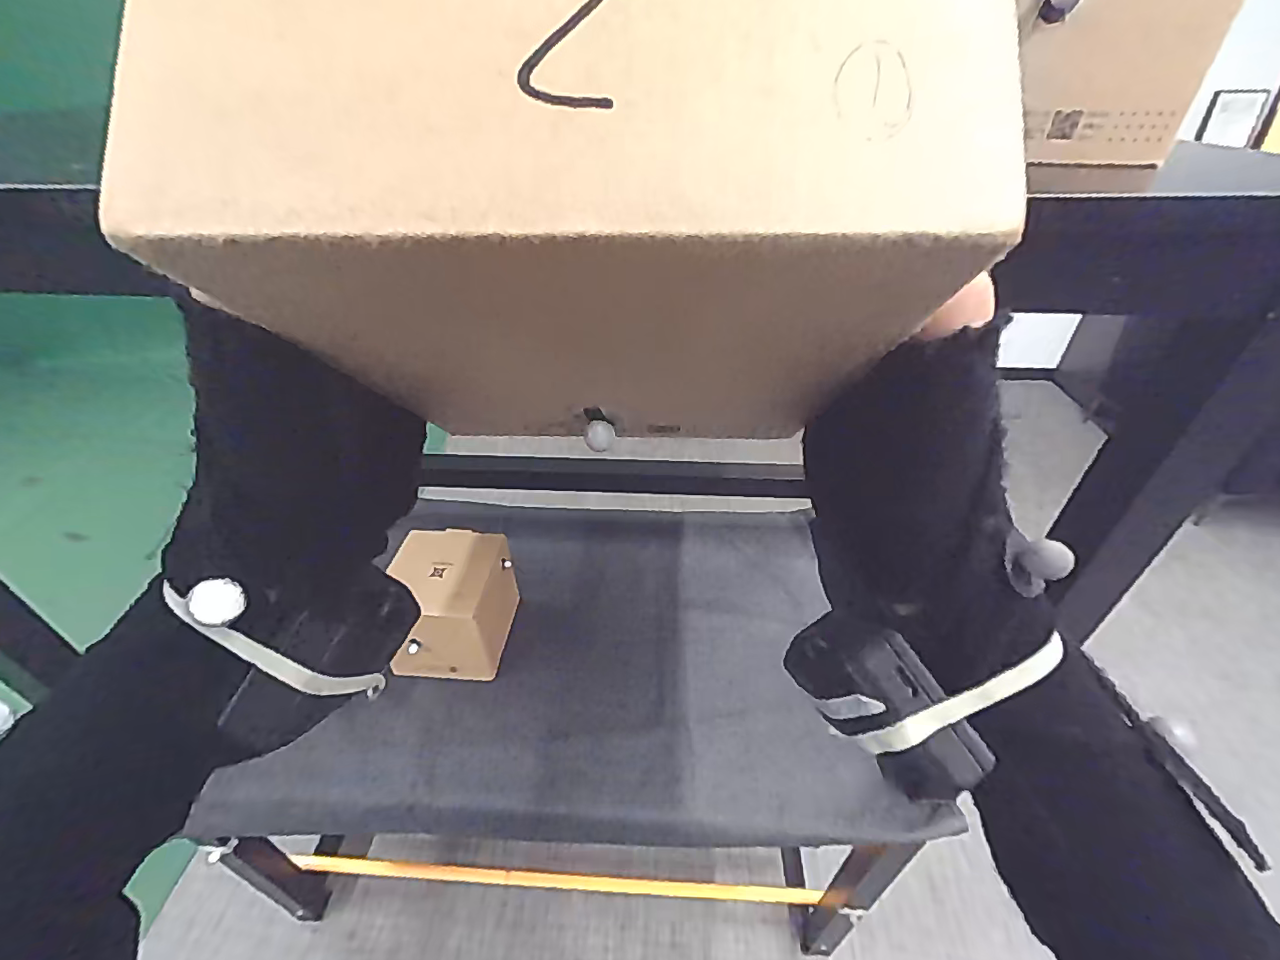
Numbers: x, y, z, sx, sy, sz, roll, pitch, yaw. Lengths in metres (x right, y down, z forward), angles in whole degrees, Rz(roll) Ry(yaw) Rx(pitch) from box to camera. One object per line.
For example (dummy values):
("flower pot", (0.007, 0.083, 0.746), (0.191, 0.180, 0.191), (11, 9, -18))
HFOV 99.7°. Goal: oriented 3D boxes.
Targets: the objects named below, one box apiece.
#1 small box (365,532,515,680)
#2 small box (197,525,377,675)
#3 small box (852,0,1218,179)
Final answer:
("small box", (-0.313, 0.208, 0.892), (0.168, 0.176, 0.179), (3, 37, 3))
("small box", (-0.565, 0.197, 0.902), (0.168, 0.176, 0.179), (2, 38, 3))
("small box", (0.247, -0.308, 0.360), (0.168, 0.176, 0.179), (9, 38, 11))
